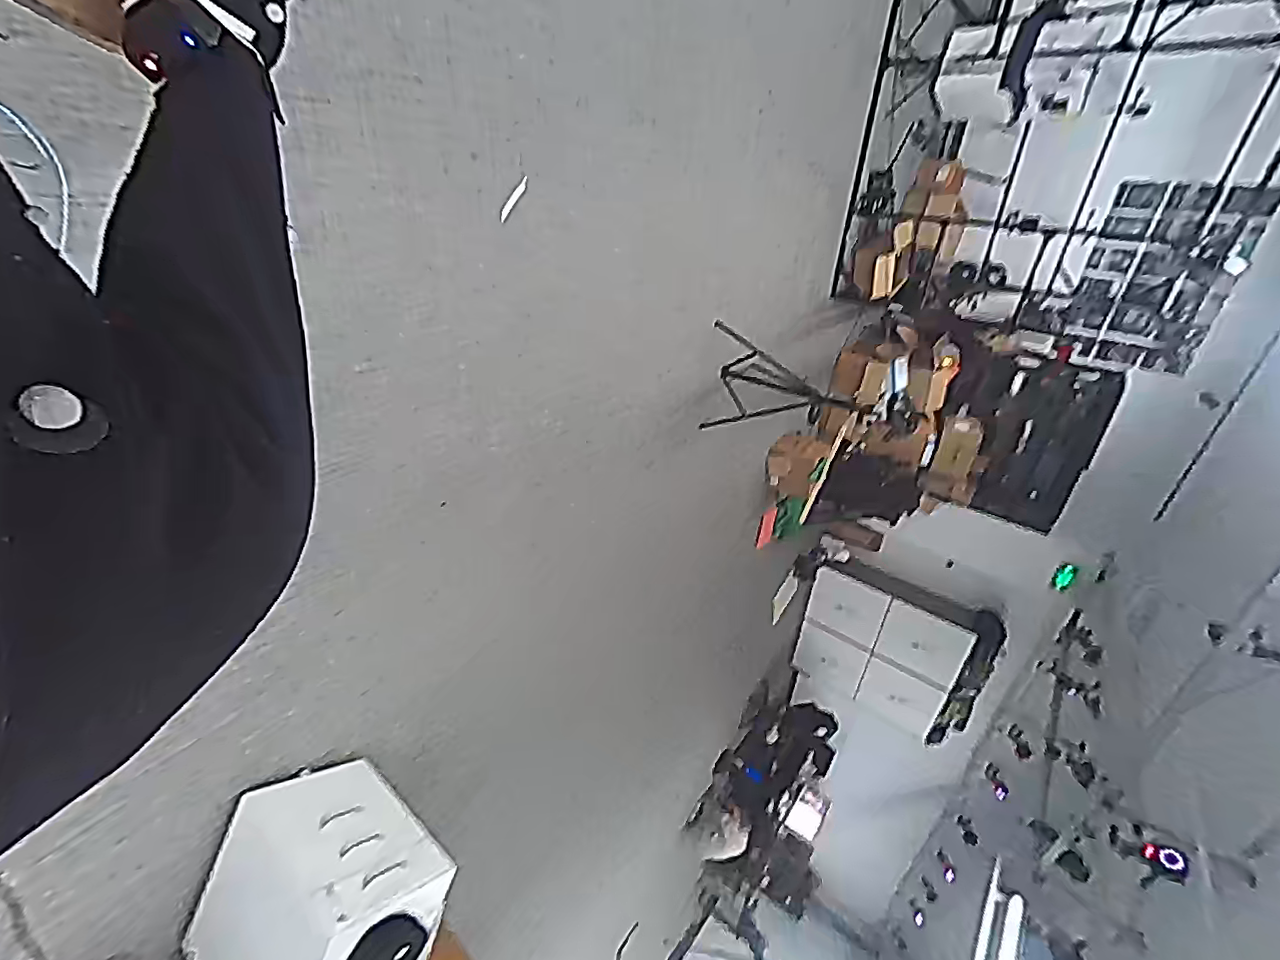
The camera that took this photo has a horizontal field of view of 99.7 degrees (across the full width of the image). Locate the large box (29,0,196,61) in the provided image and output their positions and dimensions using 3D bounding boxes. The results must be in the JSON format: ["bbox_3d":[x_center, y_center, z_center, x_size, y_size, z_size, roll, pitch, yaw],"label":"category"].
[{"bbox_3d":[-0.557,-0.577,0.349,0.408,0.320,0.320,5,116,-57],"label":"large box"}]
